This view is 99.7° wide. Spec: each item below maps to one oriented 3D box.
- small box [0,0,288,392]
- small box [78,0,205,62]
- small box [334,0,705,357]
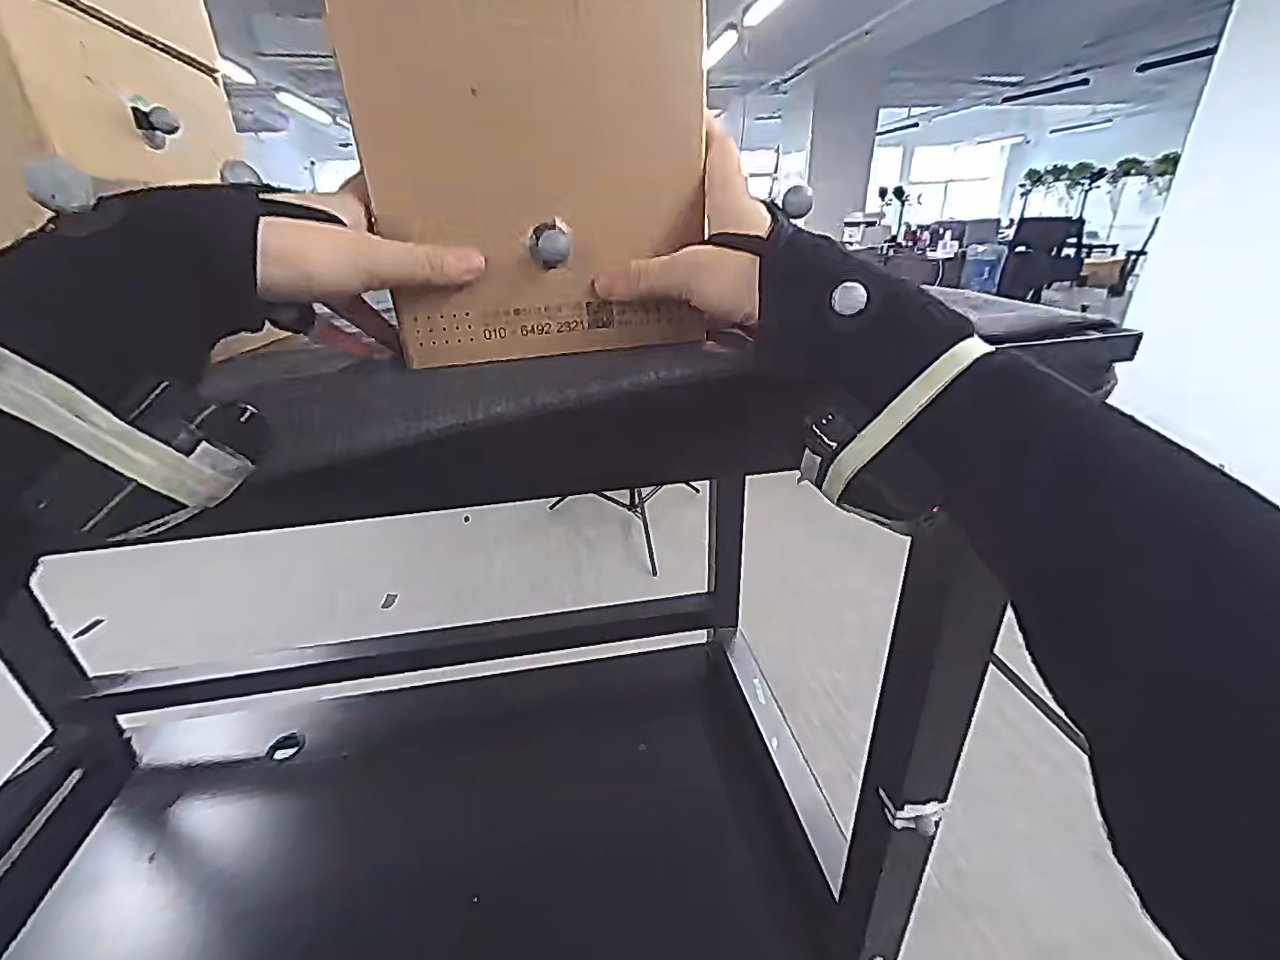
[{"bbox_3d":[-0.333,-0.146,0.300,0.168,0.176,0.179,-6,24,-8],"label":"small box"},{"bbox_3d":[-0.339,-0.295,0.235,0.168,0.176,0.179,-7,25,-7],"label":"small box"},{"bbox_3d":[-0.064,-0.179,0.341,0.168,0.176,0.179,-9,26,-11],"label":"small box"}]
